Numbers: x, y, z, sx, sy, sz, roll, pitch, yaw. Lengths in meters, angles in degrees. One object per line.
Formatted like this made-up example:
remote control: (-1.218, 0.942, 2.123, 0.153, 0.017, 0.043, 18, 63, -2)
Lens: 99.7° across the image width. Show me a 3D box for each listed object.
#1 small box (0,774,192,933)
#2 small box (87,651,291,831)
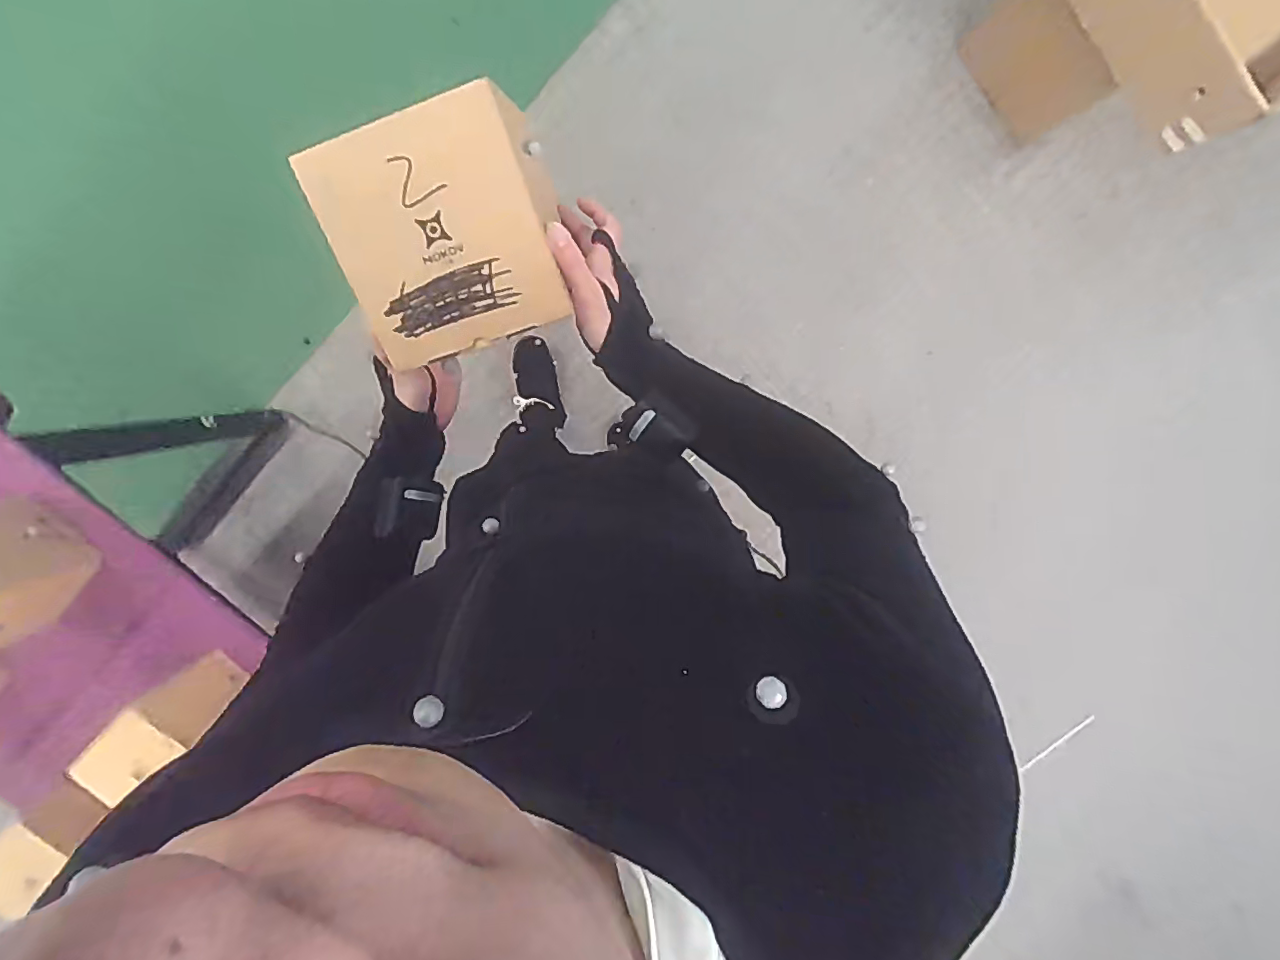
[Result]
small box: (-0.972, 0.640, 0.972, 0.168, 0.176, 0.179, 43, 99, -7)
small box: (-0.751, 0.434, 0.921, 0.179, 0.176, 0.168, -43, 97, 10)
